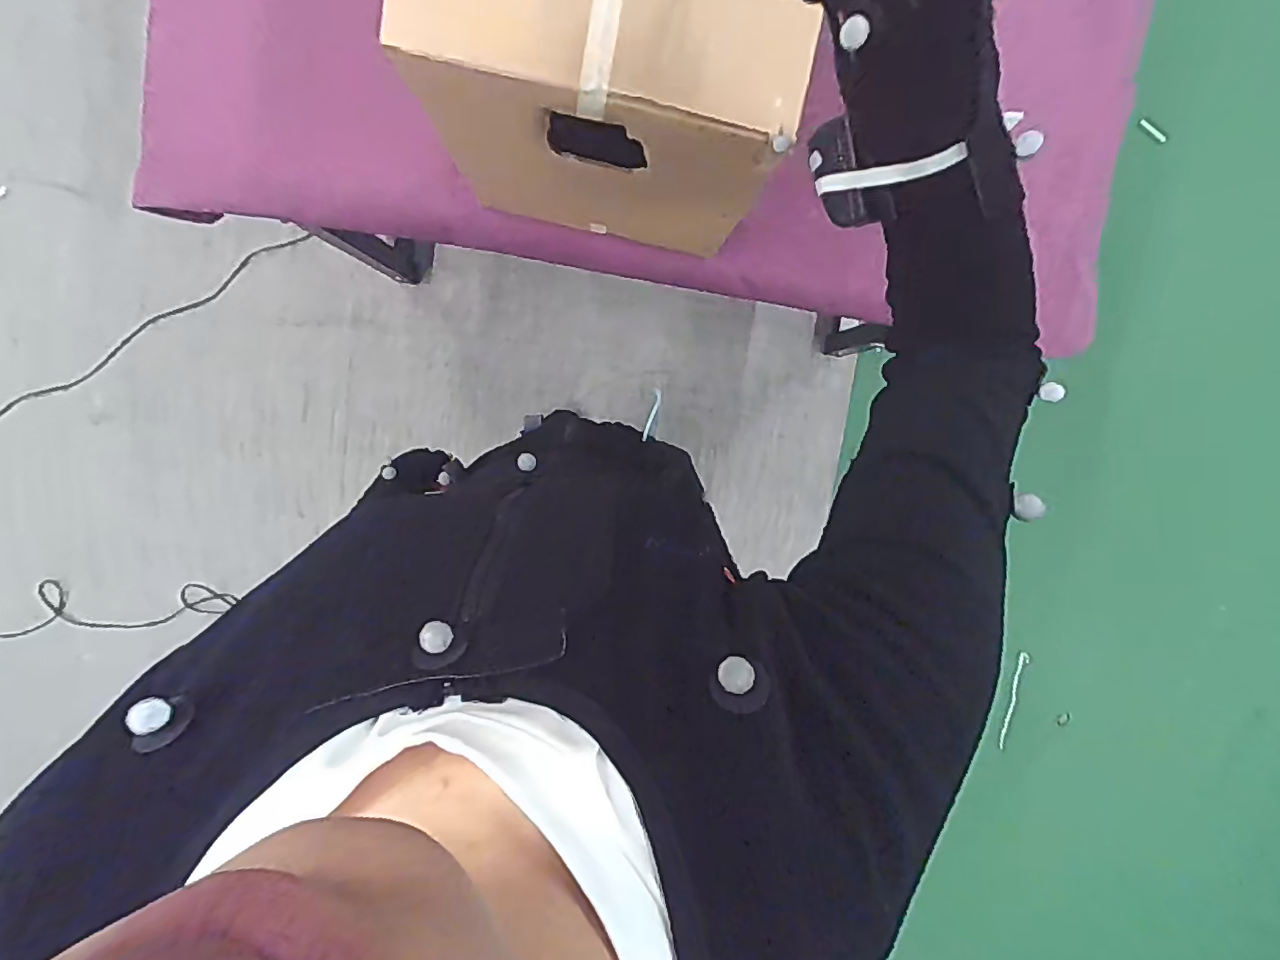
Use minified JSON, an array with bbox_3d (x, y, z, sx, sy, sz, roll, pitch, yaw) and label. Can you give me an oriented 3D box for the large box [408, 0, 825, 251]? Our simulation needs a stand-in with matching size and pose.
[{"bbox_3d":[-0.002,-0.504,0.543,0.320,0.320,0.408,11,97,-5],"label":"large box"}]
